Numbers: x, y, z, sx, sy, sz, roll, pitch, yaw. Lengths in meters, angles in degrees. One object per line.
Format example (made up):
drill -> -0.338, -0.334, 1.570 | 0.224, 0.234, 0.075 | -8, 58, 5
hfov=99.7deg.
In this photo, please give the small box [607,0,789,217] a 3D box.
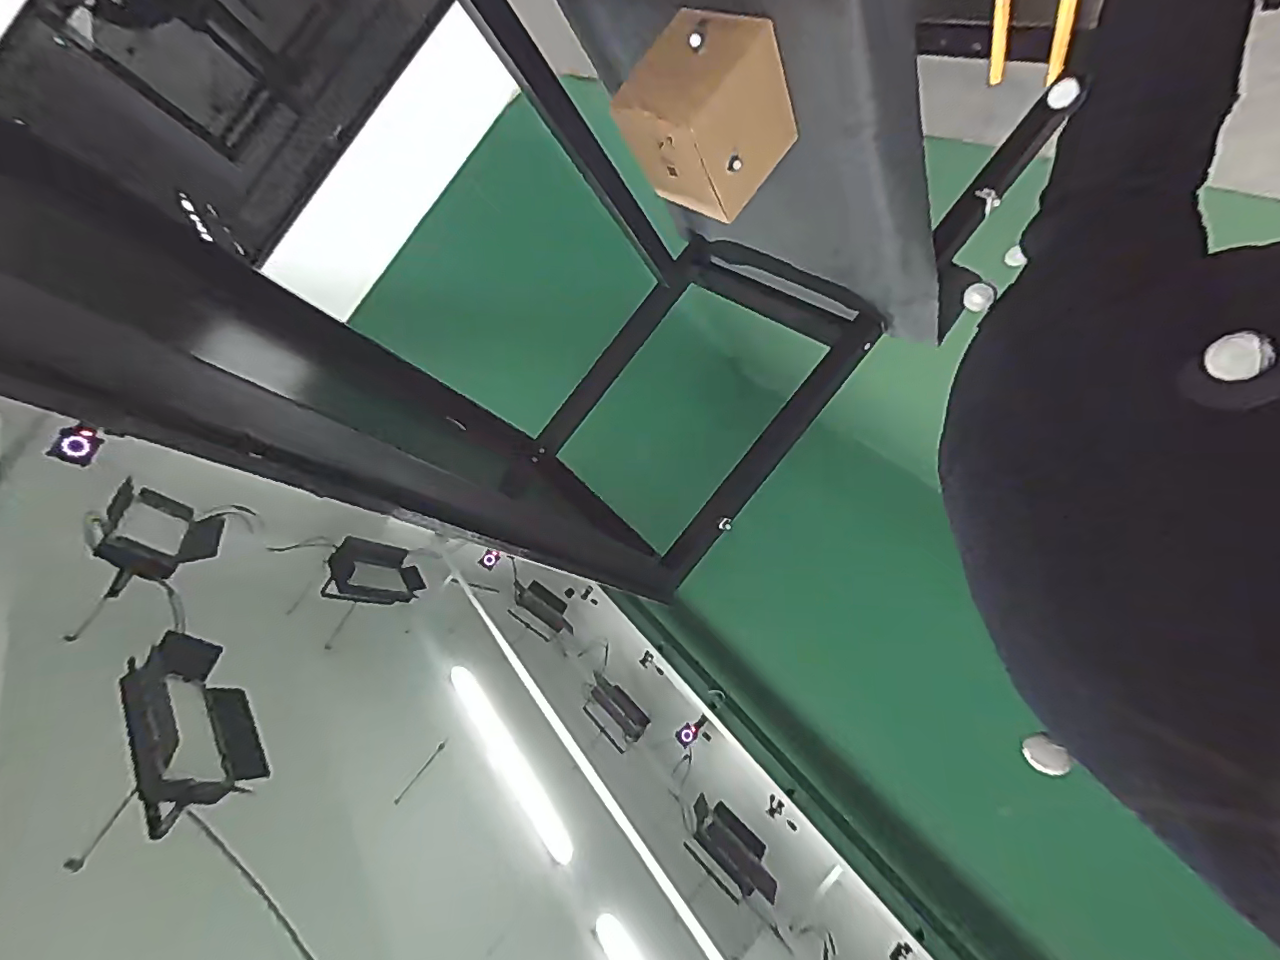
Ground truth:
small box -> 0.092, -0.528, 0.779 | 0.168, 0.176, 0.179 | 40, -177, 31
